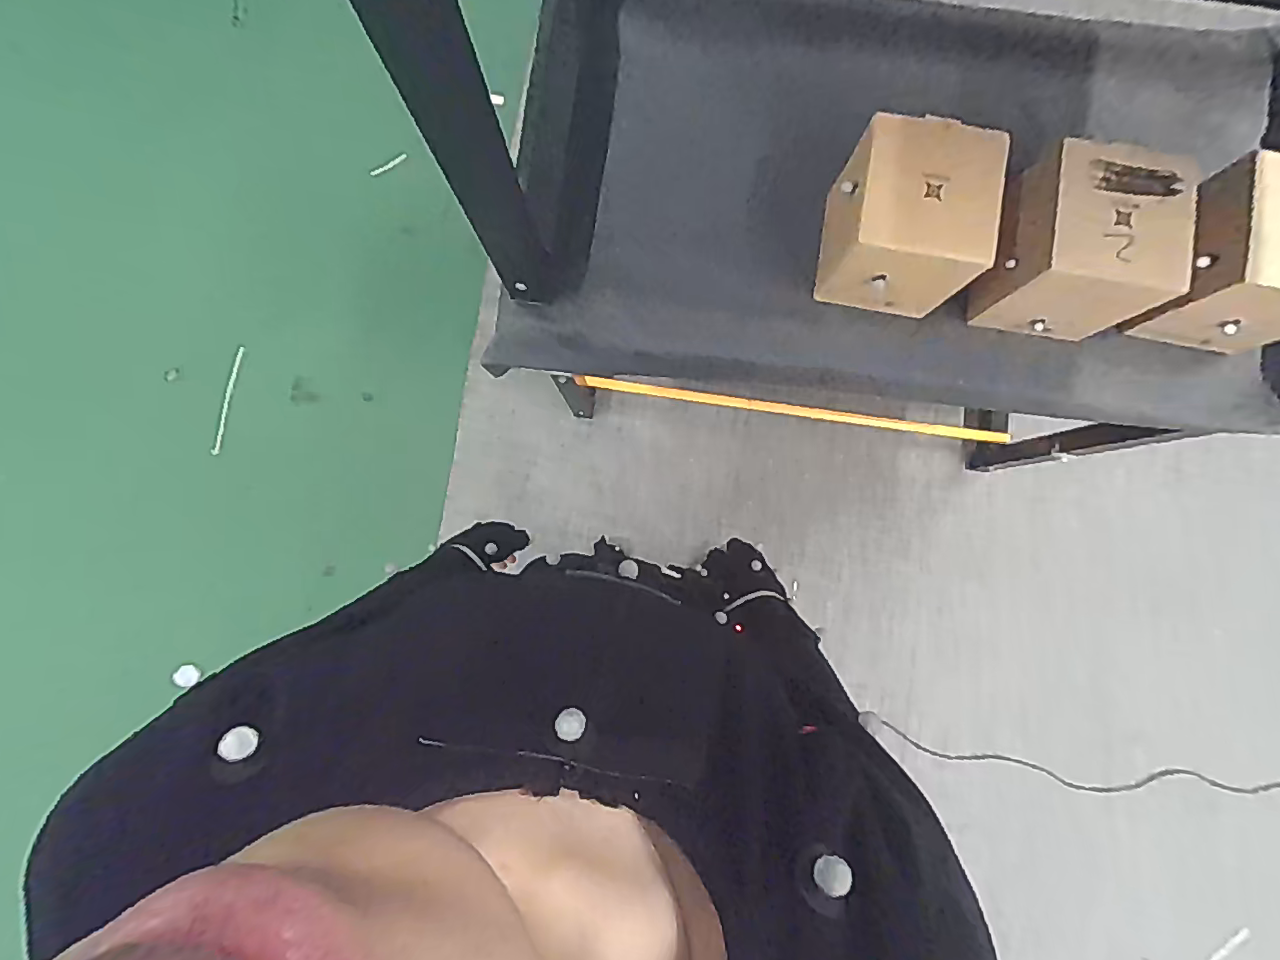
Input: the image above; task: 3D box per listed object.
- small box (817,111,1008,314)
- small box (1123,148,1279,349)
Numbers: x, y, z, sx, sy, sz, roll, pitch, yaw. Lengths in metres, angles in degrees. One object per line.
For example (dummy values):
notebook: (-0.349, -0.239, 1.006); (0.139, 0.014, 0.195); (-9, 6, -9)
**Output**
small box: (0.351, -0.345, 0.729); (0.168, 0.176, 0.179); (10, 84, 1)
small box: (0.801, -0.293, 0.721); (0.168, 0.176, 0.179); (11, 84, 1)
